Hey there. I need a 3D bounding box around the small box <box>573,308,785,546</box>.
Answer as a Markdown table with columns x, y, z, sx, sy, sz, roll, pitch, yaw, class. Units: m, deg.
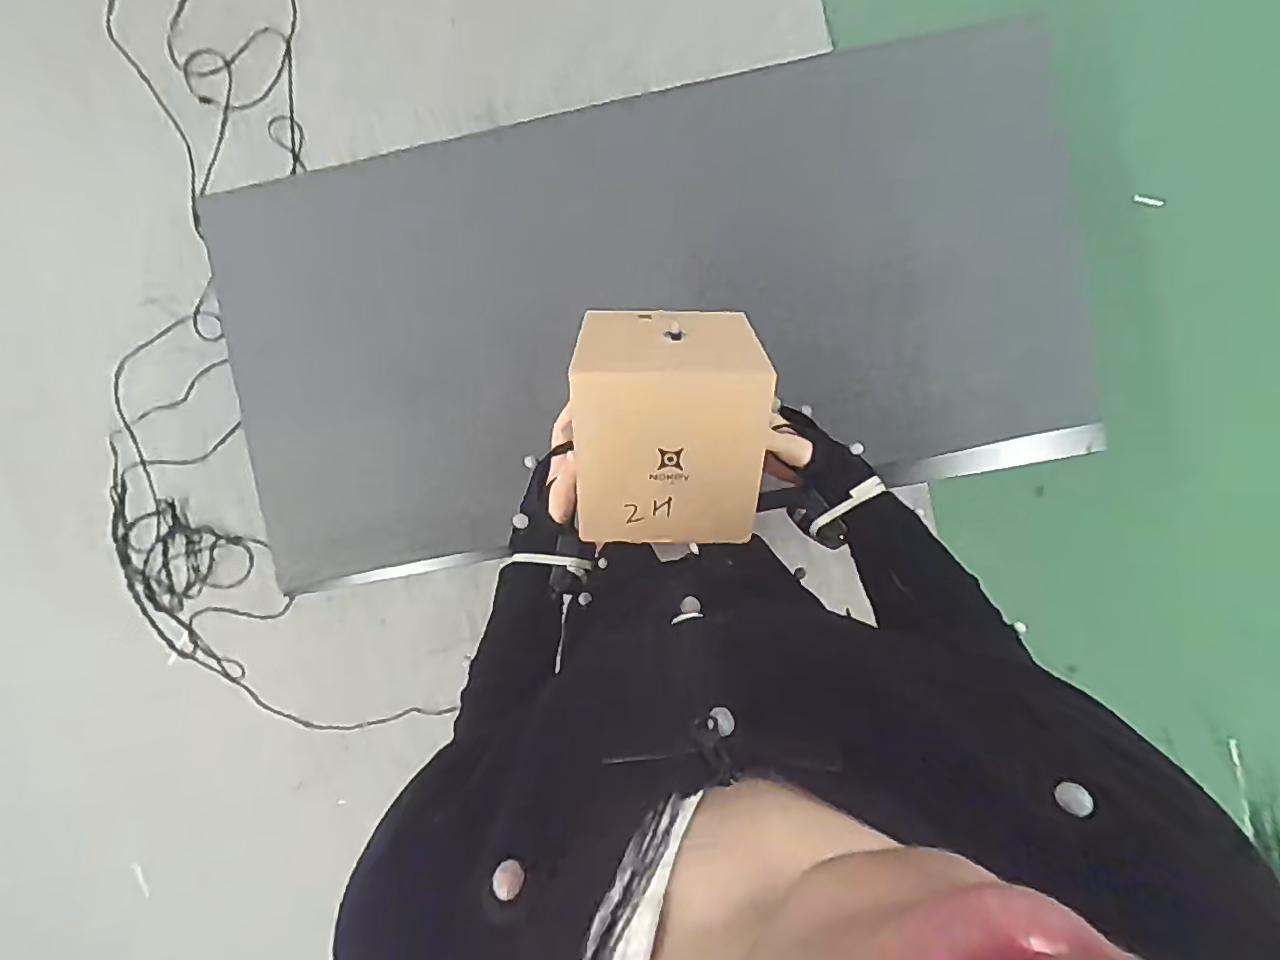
| x | y | z | sx | sy | sz | roll | pitch | yaw | class |
| --- | --- | --- | --- | --- | --- | --- | --- | --- | --- |
| 0.026 | -0.057 | 0.519 | 0.168 | 0.176 | 0.179 | 2 | 123 | 0 | small box |
